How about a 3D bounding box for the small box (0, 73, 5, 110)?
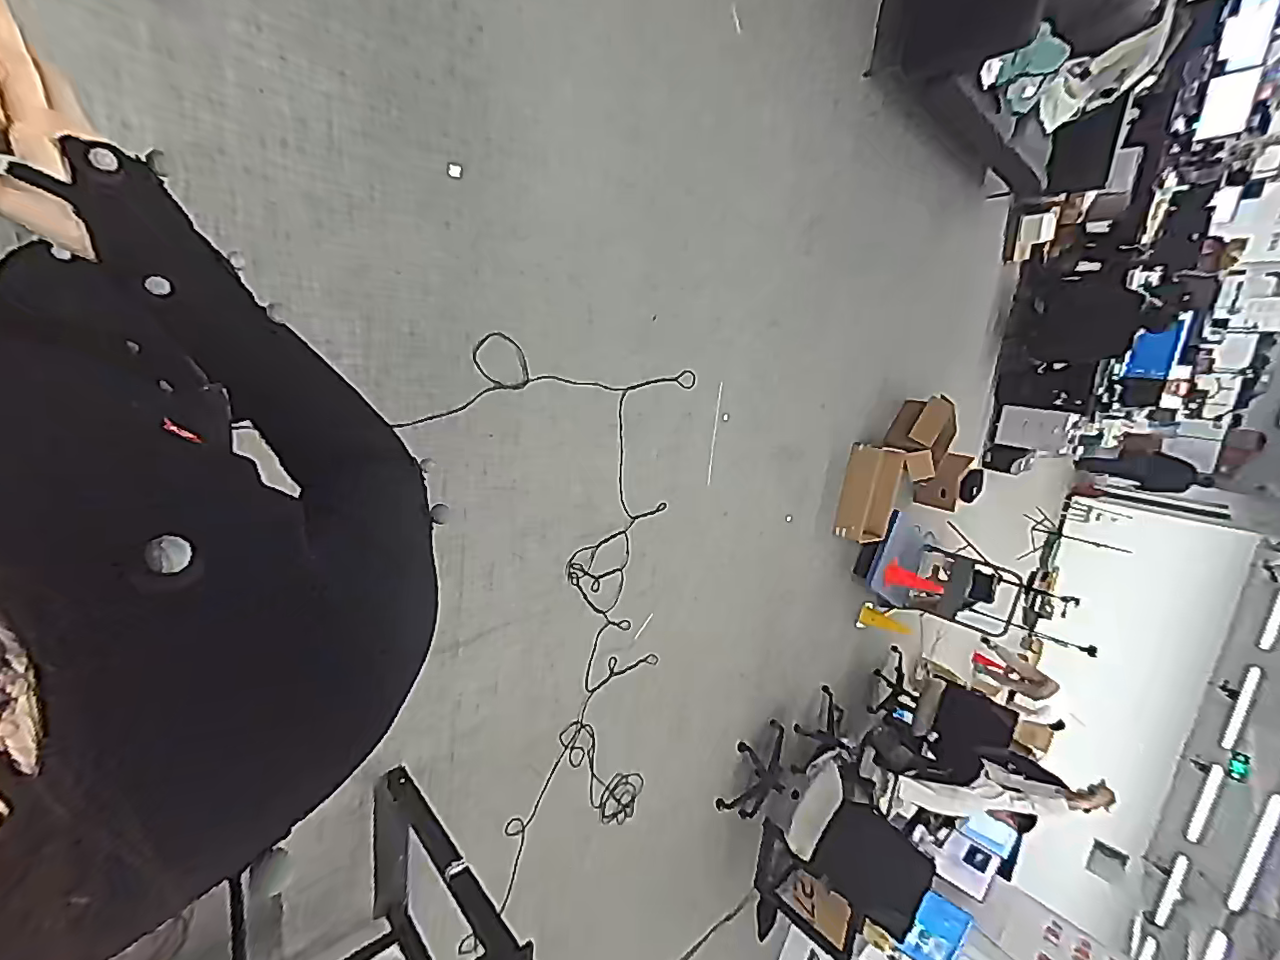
[{"bbox_3d":[-0.419,-0.269,0.221,0.179,0.176,0.168,-12,104,-37],"label":"small box"}]
